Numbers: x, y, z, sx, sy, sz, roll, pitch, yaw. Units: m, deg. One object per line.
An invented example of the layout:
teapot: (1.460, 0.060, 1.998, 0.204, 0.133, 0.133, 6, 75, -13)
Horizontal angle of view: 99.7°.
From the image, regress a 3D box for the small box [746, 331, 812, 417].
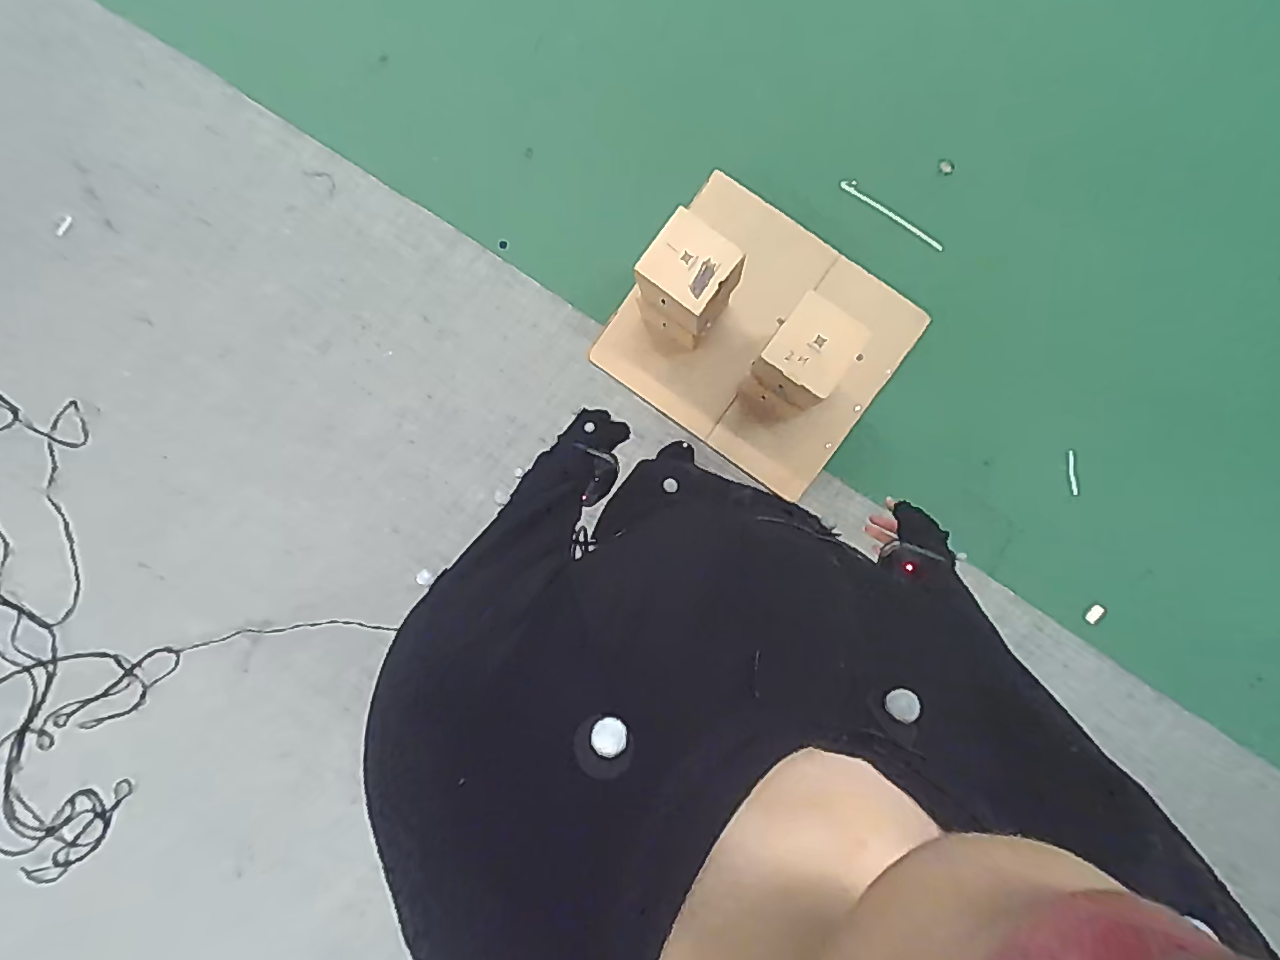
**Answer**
small box: (0.381, -0.276, 1.354, 0.168, 0.176, 0.179, 34, 94, 3)

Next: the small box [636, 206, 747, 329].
small box: (0.116, -0.457, 1.202, 0.179, 0.176, 0.168, 38, 94, 5)

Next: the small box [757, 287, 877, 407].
small box: (0.375, -0.282, 1.188, 0.168, 0.176, 0.179, 36, 94, 4)
